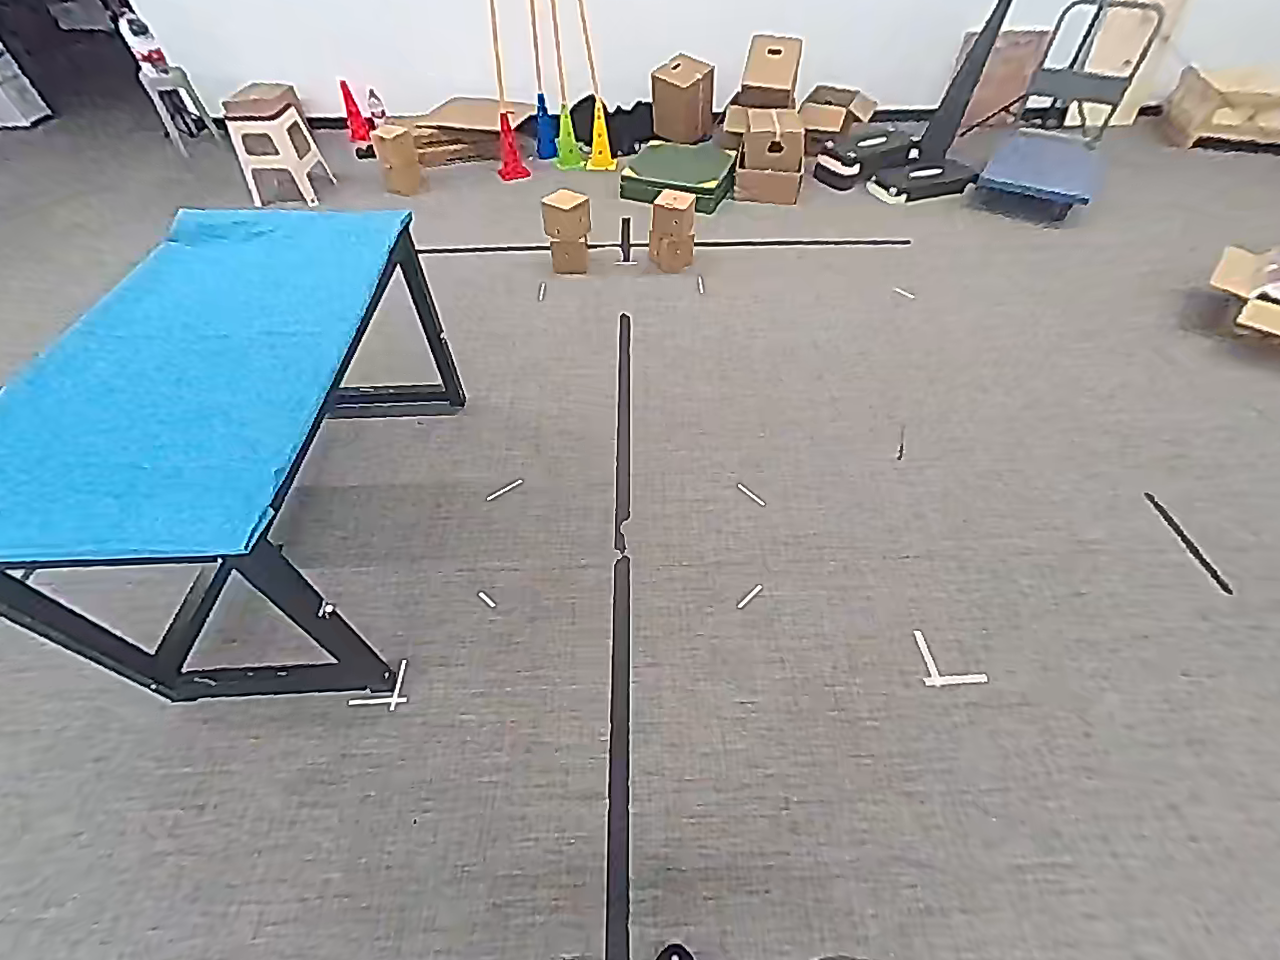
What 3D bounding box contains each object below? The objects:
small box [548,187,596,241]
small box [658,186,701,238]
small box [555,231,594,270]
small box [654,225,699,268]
[{"bbox_3d":[-0.339,-1.325,2.684,0.179,0.176,0.168,27,55,19],"label":"small box"},{"bbox_3d":[0.195,-1.332,2.689,0.168,0.176,0.179,18,53,13],"label":"small box"},{"bbox_3d":[-0.335,-1.209,2.805,0.179,0.176,0.168,0,50,2],"label":"small box"},{"bbox_3d":[0.189,-1.237,2.825,0.179,0.176,0.168,-27,55,-21],"label":"small box"}]
